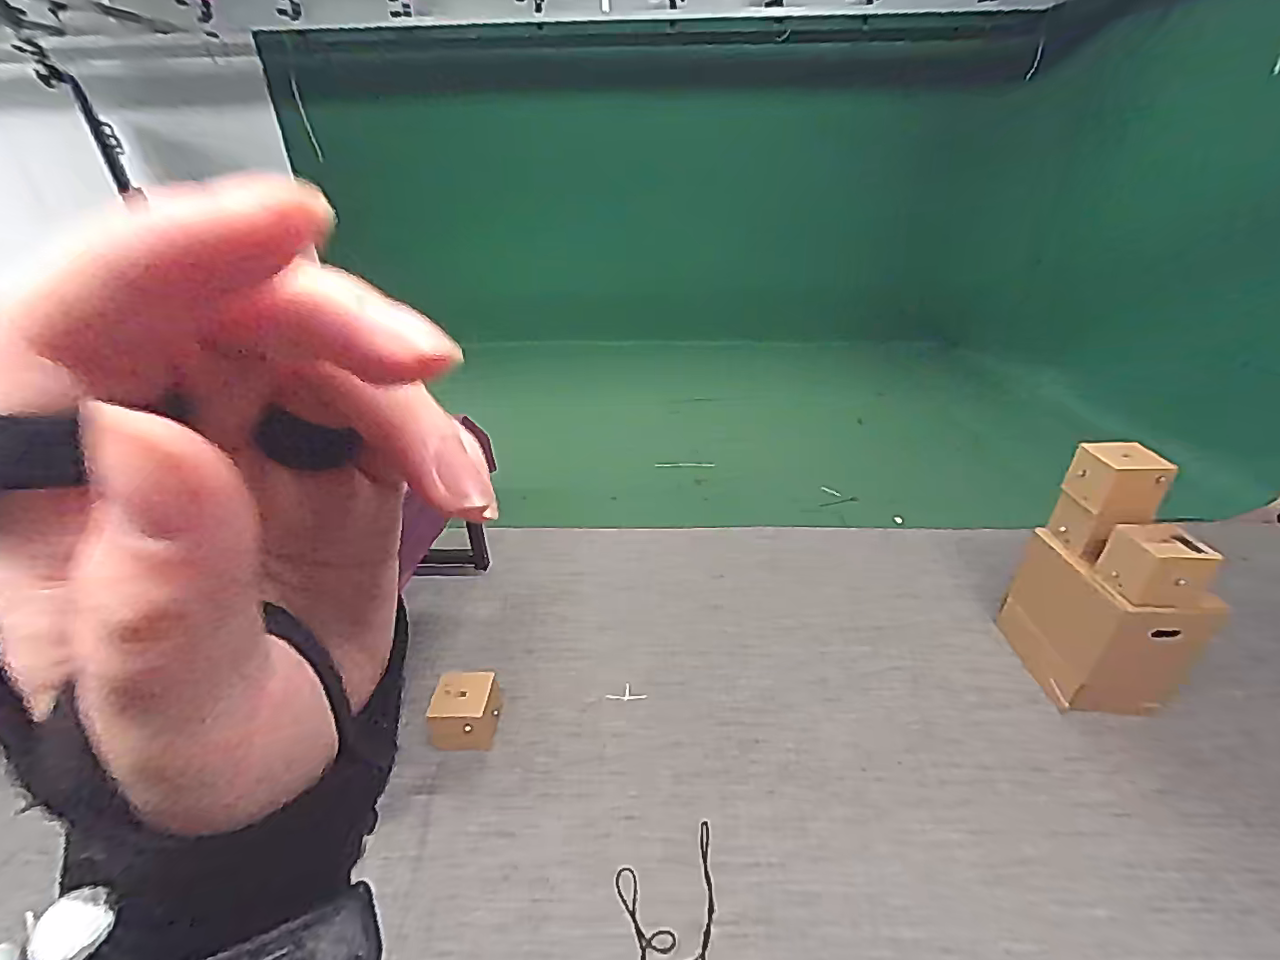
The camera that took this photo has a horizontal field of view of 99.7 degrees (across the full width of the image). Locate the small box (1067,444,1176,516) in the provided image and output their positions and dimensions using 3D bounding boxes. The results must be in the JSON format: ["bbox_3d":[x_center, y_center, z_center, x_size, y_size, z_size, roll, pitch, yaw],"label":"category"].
[{"bbox_3d":[1.467,0.002,1.667,0.179,0.176,0.168,-1,32,2],"label":"small box"}]

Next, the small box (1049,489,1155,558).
[{"bbox_3d":[1.482,0.141,1.750,0.179,0.176,0.168,-1,32,3],"label":"small box"}]
